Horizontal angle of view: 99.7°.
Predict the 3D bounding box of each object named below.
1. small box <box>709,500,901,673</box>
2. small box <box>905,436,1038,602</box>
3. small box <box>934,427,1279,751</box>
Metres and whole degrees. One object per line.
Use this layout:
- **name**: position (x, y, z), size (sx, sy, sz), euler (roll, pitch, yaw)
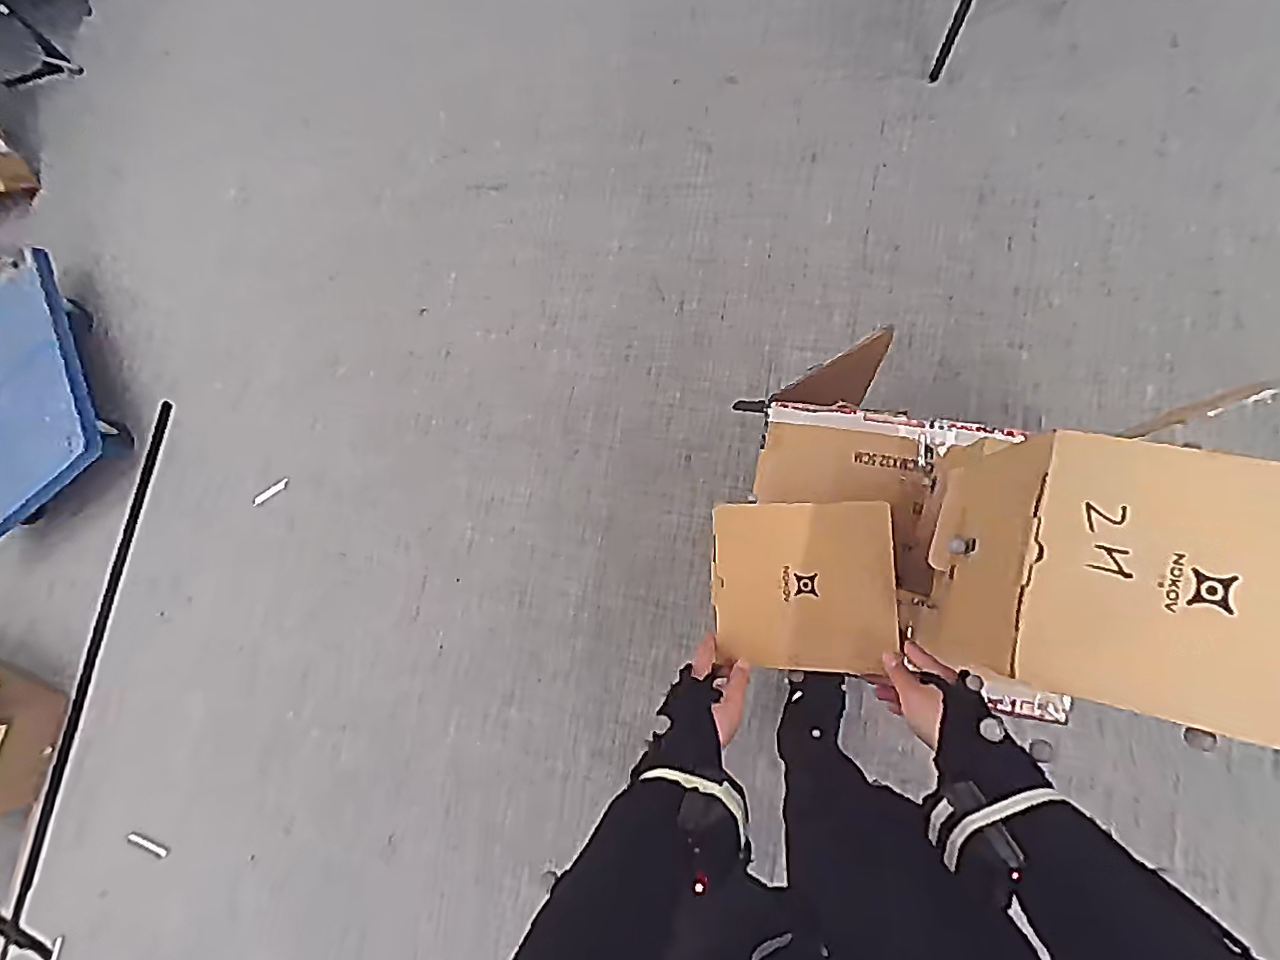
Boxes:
- **small box**: position (0.178, 0.115, 0.611), size (0.179, 0.176, 0.168), euler (-4, 80, 15)
- **small box**: position (0.396, 0.067, 0.557), size (0.179, 0.176, 0.168), euler (15, 87, 15)
- **small box**: position (0.346, 0.070, 0.398), size (0.179, 0.176, 0.168), euler (12, 86, 15)
